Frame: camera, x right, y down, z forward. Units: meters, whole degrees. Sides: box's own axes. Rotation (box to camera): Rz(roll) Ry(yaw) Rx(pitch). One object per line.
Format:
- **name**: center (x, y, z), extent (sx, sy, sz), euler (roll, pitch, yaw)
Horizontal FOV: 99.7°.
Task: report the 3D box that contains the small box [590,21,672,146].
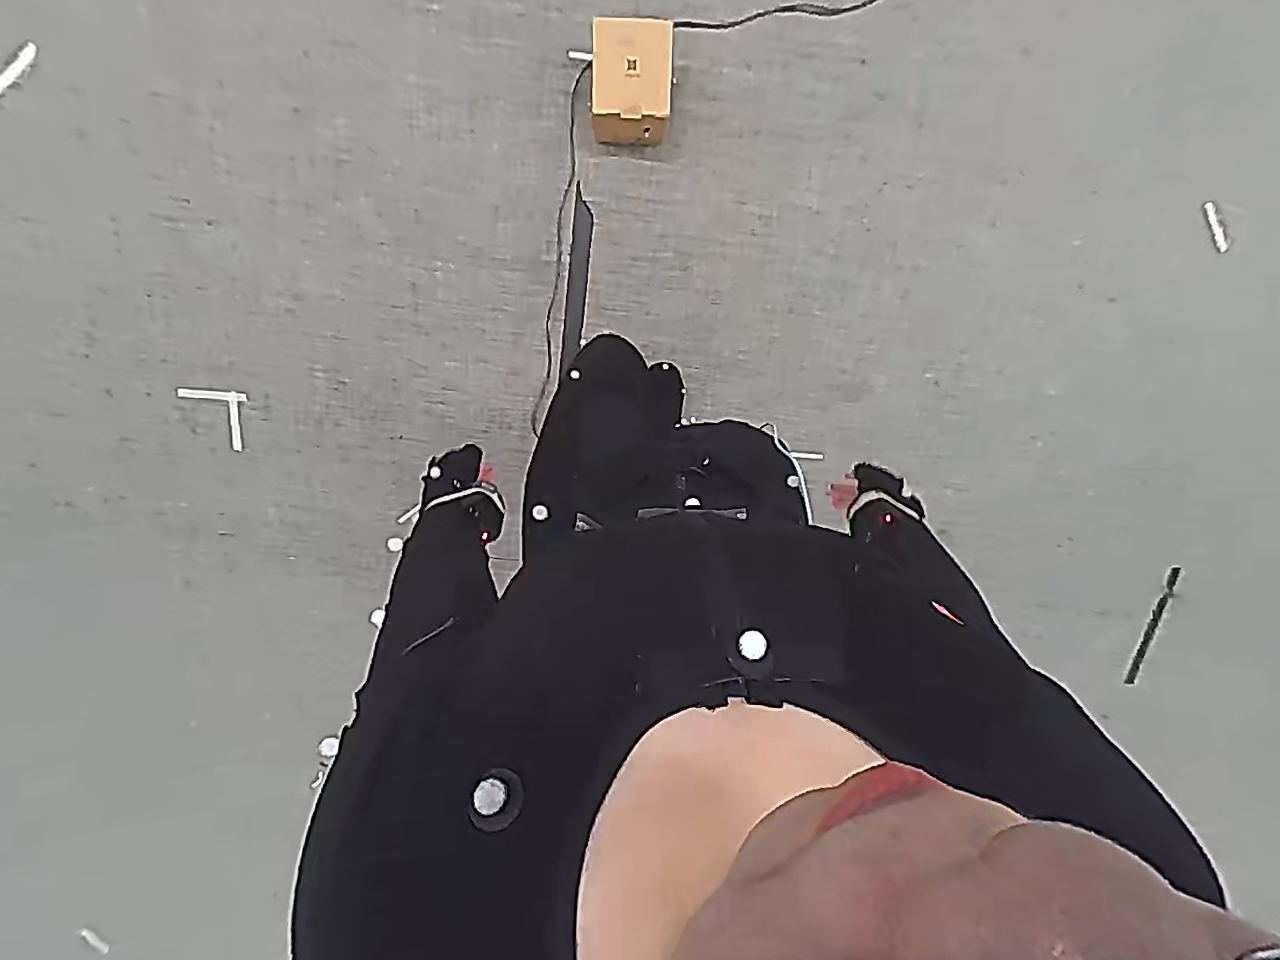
- **small box**: center (-0.022, -0.866, 1.199), extent (0.168, 0.176, 0.179), euler (2, 103, -3)
